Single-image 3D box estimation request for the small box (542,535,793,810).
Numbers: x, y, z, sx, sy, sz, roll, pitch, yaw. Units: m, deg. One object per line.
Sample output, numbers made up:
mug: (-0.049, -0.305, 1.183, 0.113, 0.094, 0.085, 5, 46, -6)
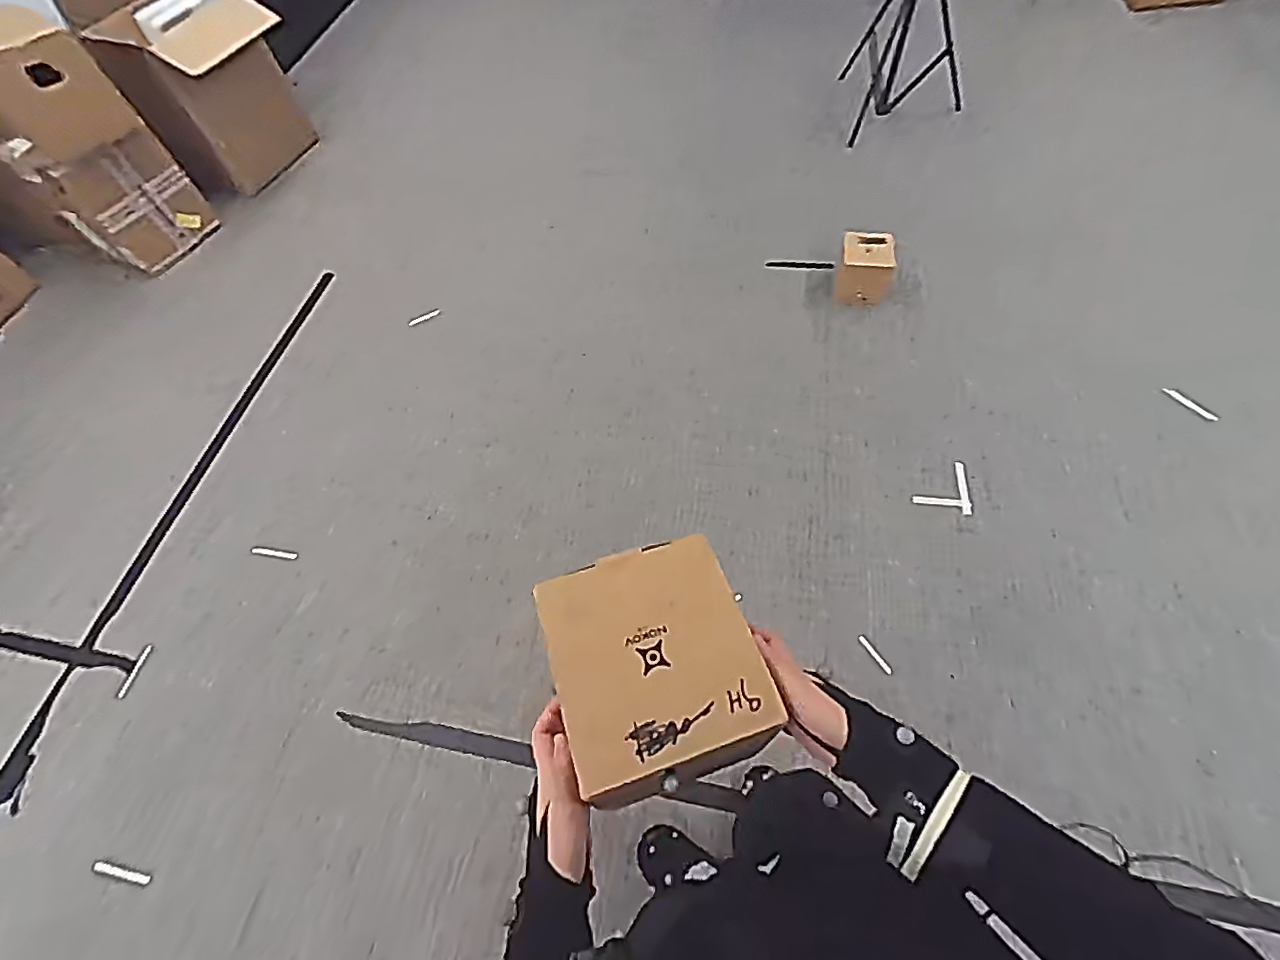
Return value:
small box: (0.016, 0.183, 0.506, 0.168, 0.176, 0.179, -16, 56, -8)
